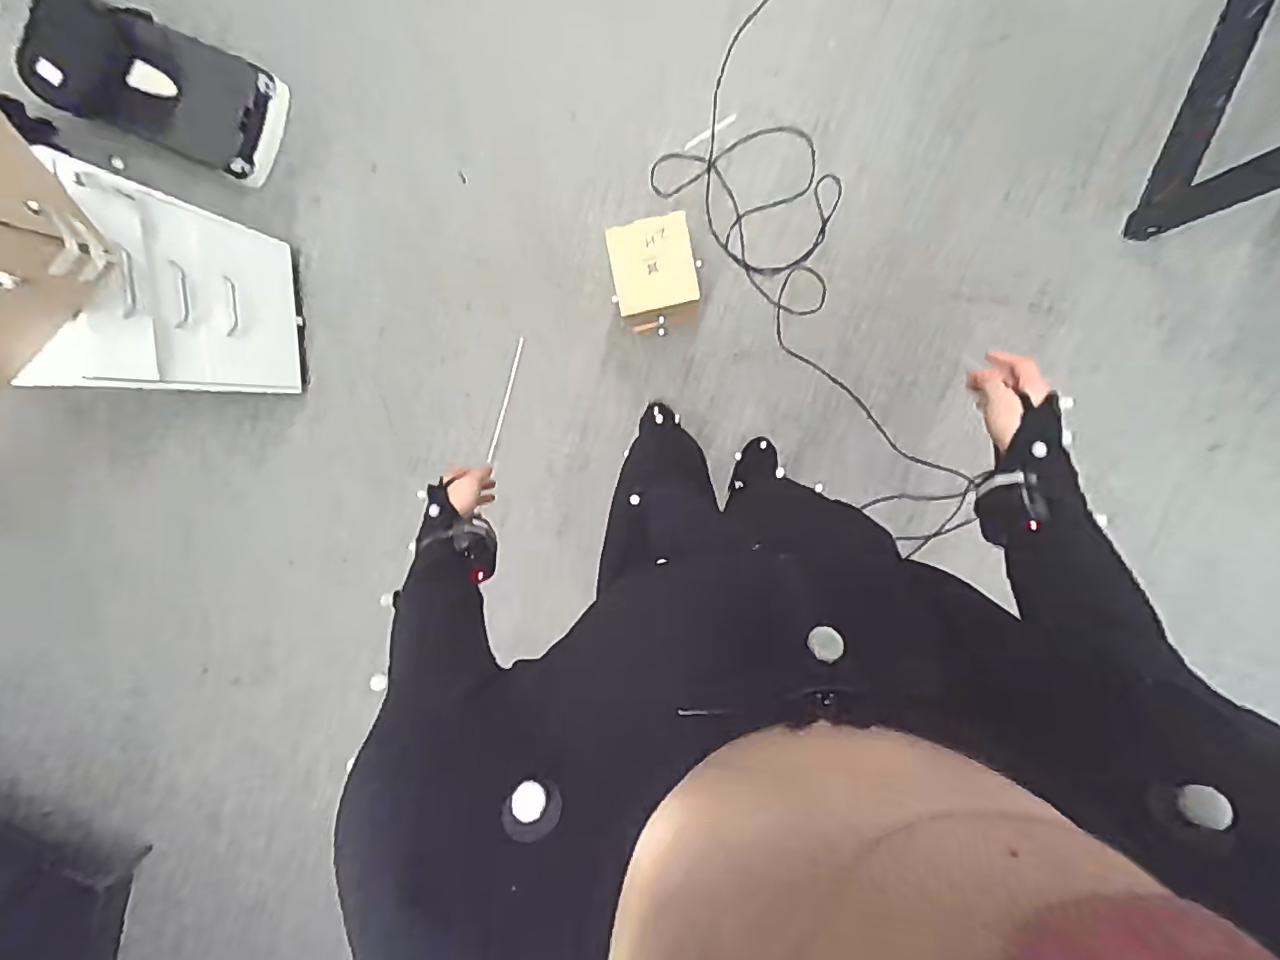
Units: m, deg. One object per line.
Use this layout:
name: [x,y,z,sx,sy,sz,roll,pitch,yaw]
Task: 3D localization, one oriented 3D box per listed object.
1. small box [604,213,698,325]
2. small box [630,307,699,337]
small box: [0.031,-0.441,1.164,0.168,0.176,0.179,-11,96,7]
small box: [0.046,-0.459,1.328,0.168,0.176,0.179,-16,95,8]
